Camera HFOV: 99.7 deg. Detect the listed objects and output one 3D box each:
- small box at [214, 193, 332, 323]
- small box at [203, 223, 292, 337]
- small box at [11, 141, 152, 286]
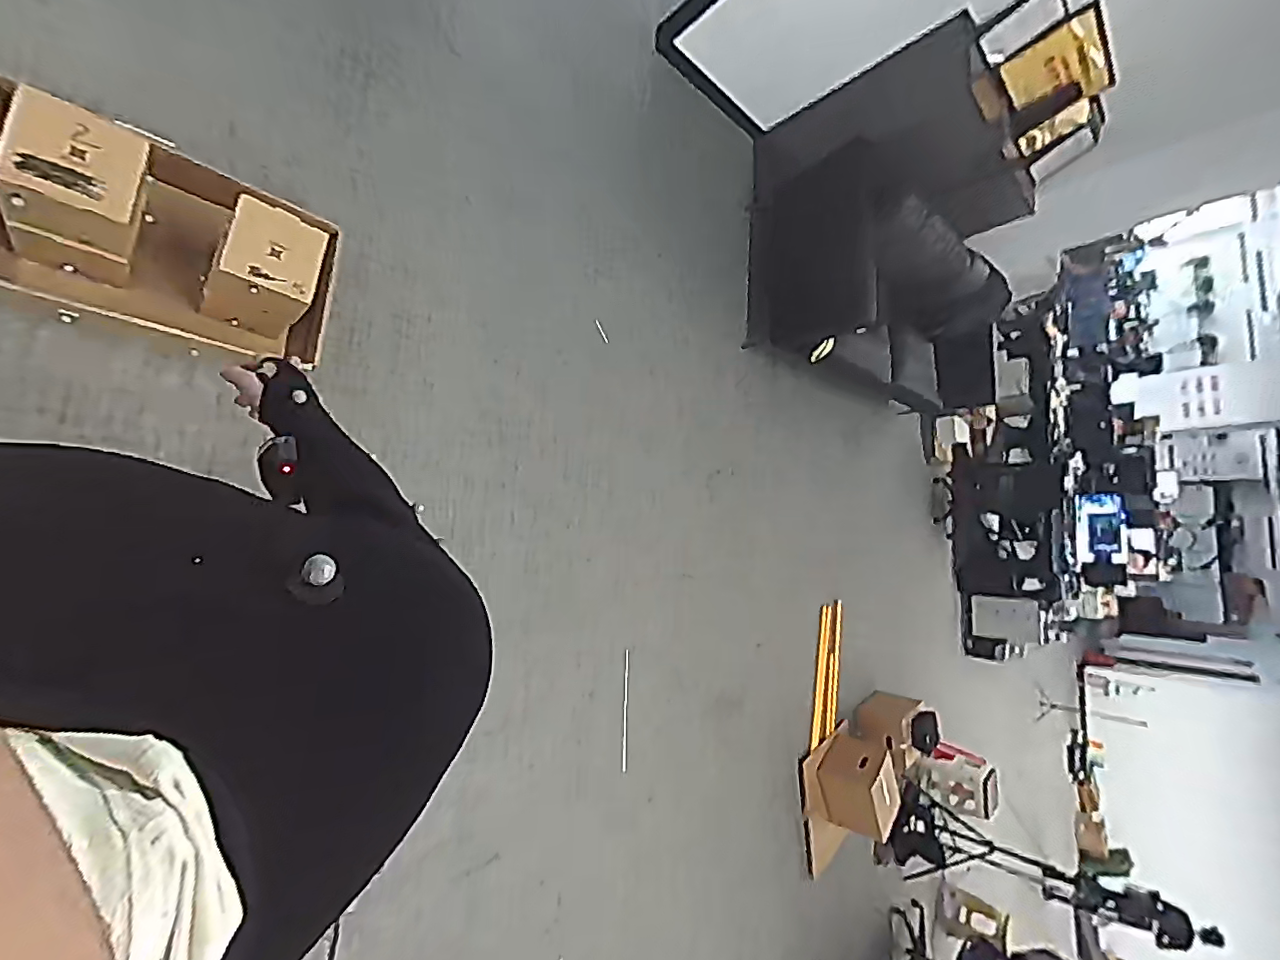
[{"bbox_3d":[-0.806,-0.475,1.186,0.168,0.176,0.179,18,74,-42],"label":"small box"},{"bbox_3d":[-0.925,-0.470,1.301,0.168,0.176,0.179,16,76,-42],"label":"small box"},{"bbox_3d":[-1.132,-0.531,1.104,0.168,0.176,0.179,15,75,-42],"label":"small box"}]
